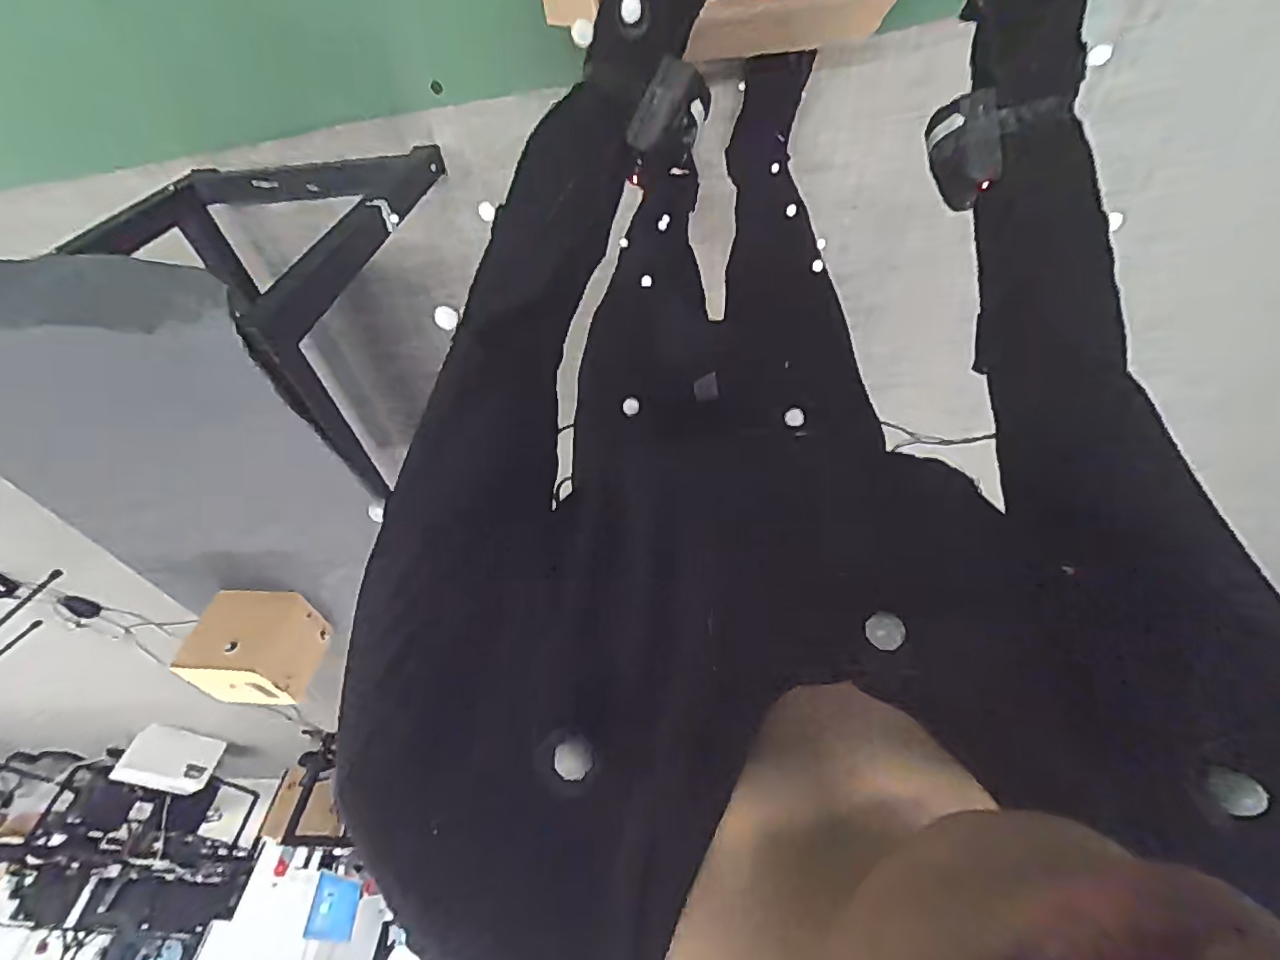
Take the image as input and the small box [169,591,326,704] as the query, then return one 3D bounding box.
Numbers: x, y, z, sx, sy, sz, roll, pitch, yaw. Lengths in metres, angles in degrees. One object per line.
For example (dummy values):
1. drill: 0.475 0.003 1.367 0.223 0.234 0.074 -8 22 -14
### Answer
1. small box: -0.776 0.340 1.100 0.179 0.176 0.168 1 137 4
